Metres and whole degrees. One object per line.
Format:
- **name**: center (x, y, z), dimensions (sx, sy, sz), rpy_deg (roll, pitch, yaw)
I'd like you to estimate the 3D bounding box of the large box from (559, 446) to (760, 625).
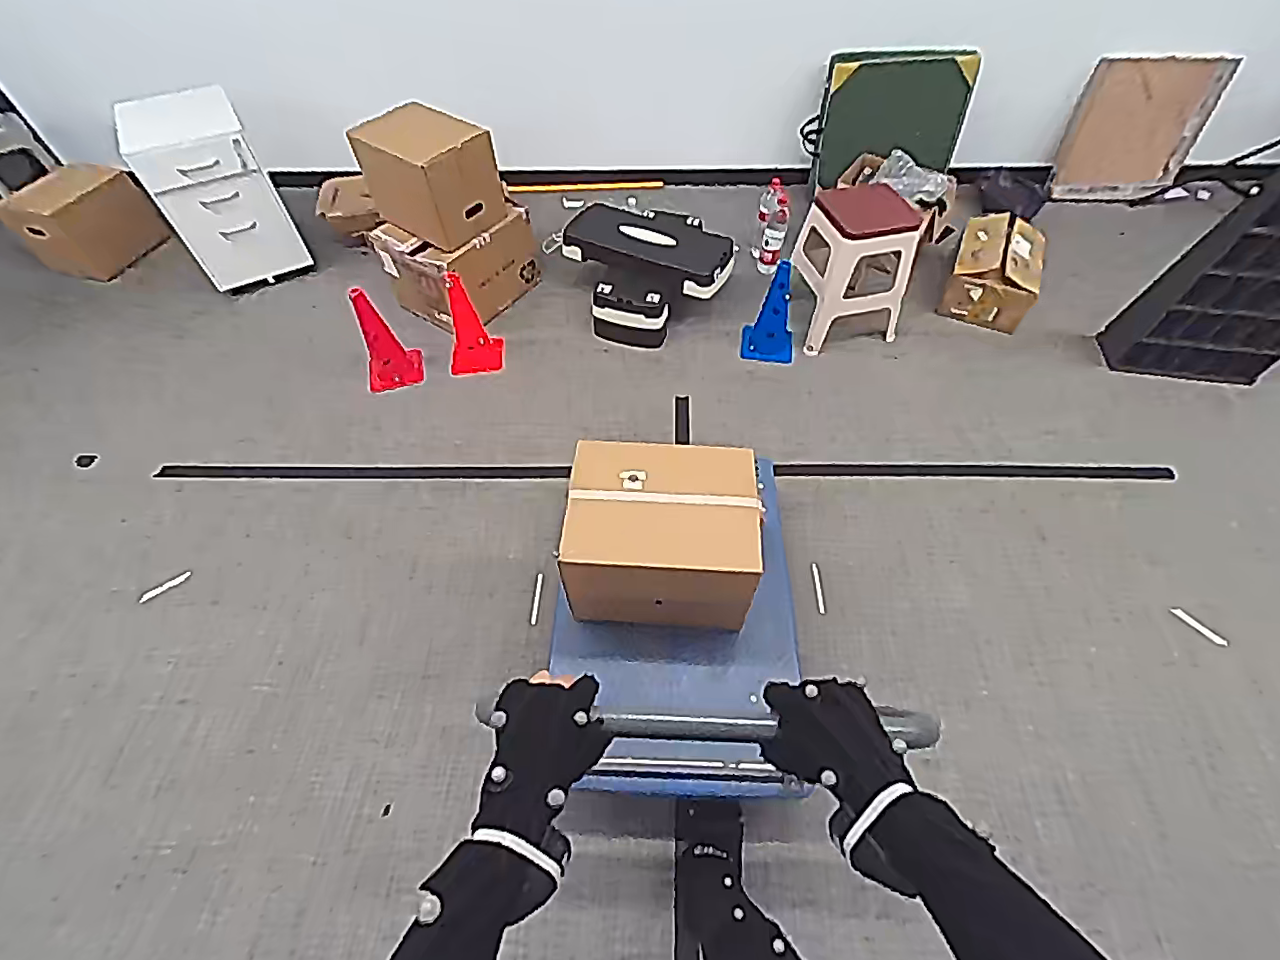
- **large box**: center (0.050, 0.136, 1.271), dimensions (0.408, 0.320, 0.320), rpy_deg (2, 54, 3)
